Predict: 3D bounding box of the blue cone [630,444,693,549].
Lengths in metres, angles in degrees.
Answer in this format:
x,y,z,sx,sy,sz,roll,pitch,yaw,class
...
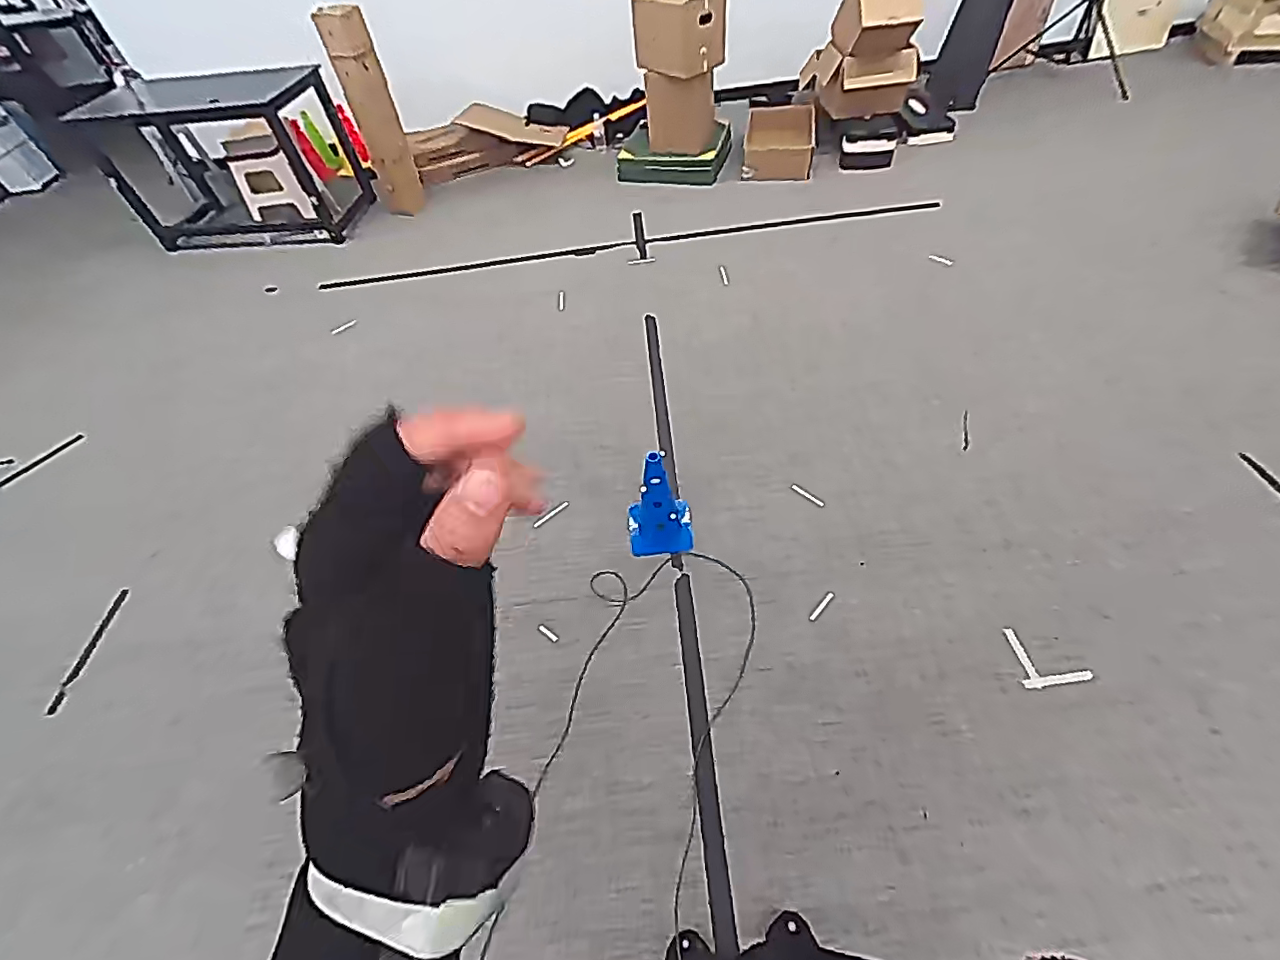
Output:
x,y,z,sx,sy,sz,roll,pitch,yaw,class
0.052,0.036,1.610,0.193,0.380,0.192,-8,52,2,blue cone
